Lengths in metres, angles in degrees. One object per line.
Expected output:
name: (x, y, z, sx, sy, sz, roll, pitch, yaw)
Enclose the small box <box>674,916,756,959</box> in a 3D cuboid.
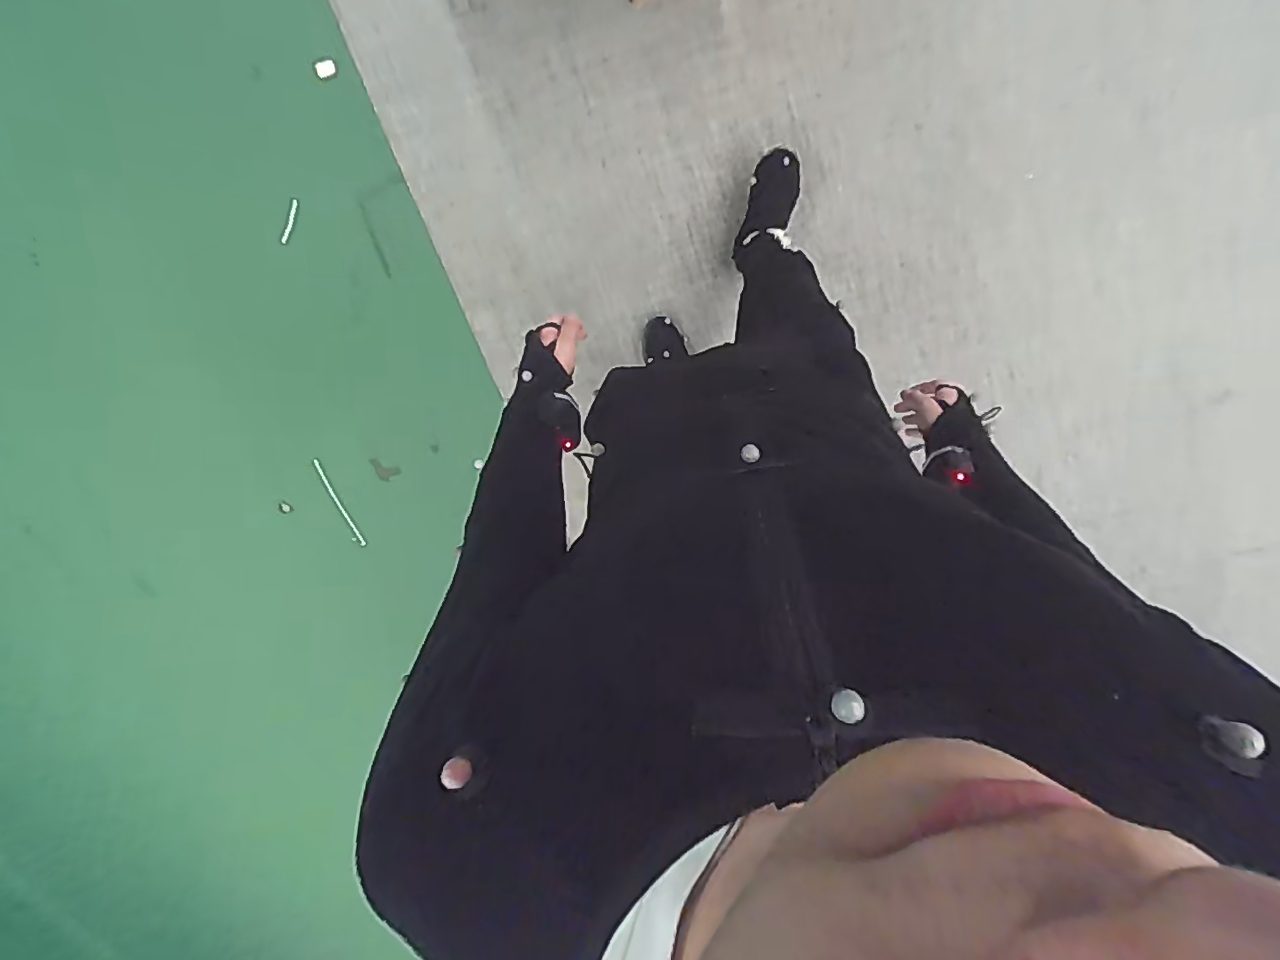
small box: (0.183, 1.160, 1.250, 0.168, 0.176, 0.179, -19, 111, 7)
